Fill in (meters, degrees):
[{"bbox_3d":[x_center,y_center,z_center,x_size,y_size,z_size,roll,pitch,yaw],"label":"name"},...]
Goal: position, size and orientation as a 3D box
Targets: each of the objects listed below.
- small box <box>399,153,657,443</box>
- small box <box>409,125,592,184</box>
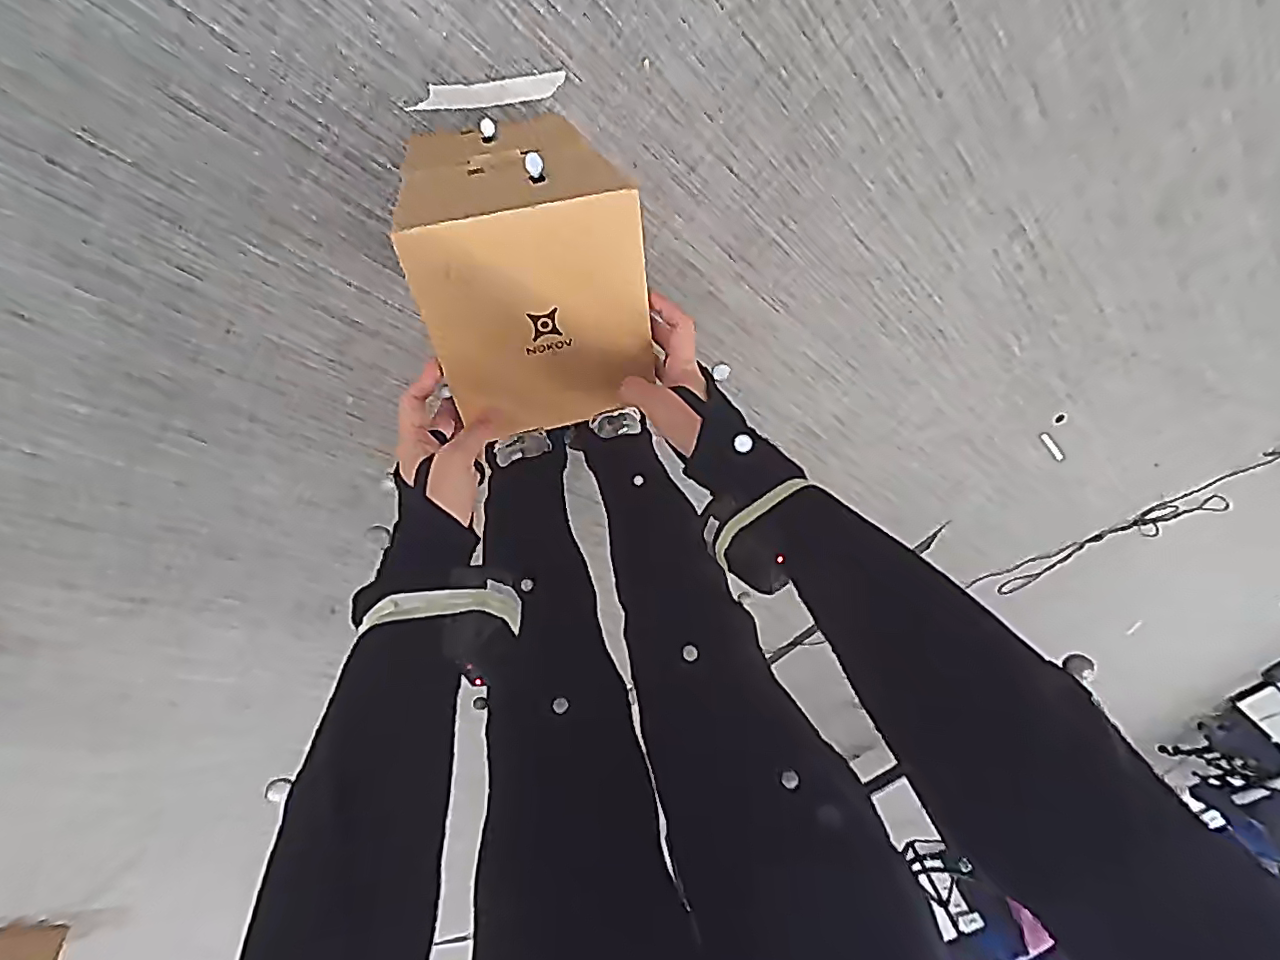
[{"bbox_3d":[-0.092,-0.165,0.467,0.168,0.176,0.179,-15,134,-8],"label":"small box"},{"bbox_3d":[-0.136,-0.268,0.586,0.168,0.176,0.179,-15,133,-7],"label":"small box"}]
